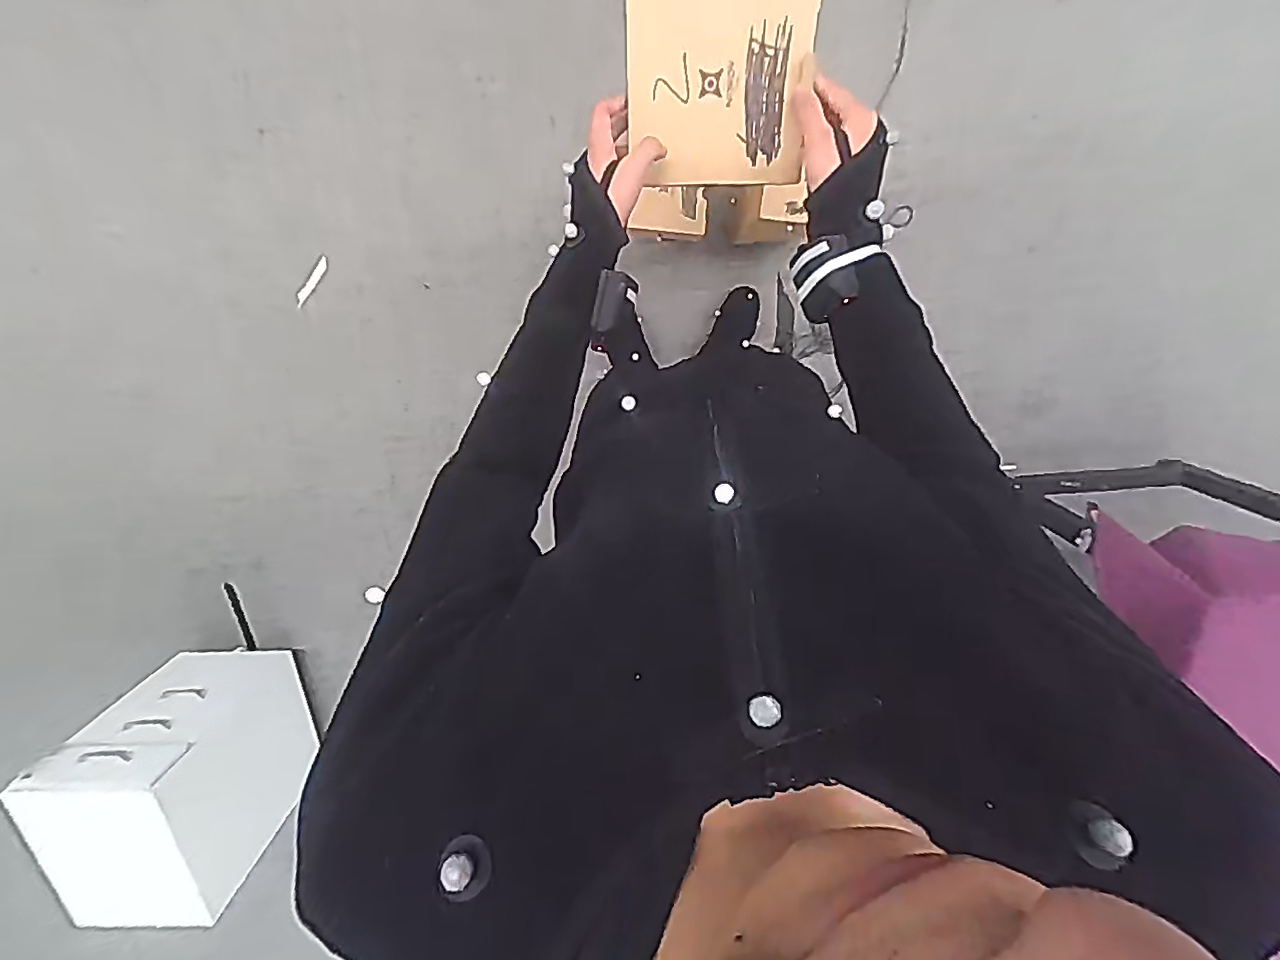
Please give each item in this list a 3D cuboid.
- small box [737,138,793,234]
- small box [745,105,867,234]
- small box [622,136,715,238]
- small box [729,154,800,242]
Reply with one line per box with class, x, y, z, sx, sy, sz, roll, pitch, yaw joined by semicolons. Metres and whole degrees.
small box;0.311;-0.640;1.191;0.179;0.176;0.168;-1;110;2
small box;0.306;-0.583;1.036;0.168;0.176;0.179;6;109;-1
small box;0.058;-0.636;1.191;0.179;0.176;0.168;6;110;-1
small box;0.313;-0.696;1.342;0.168;0.176;0.179;-2;110;3
